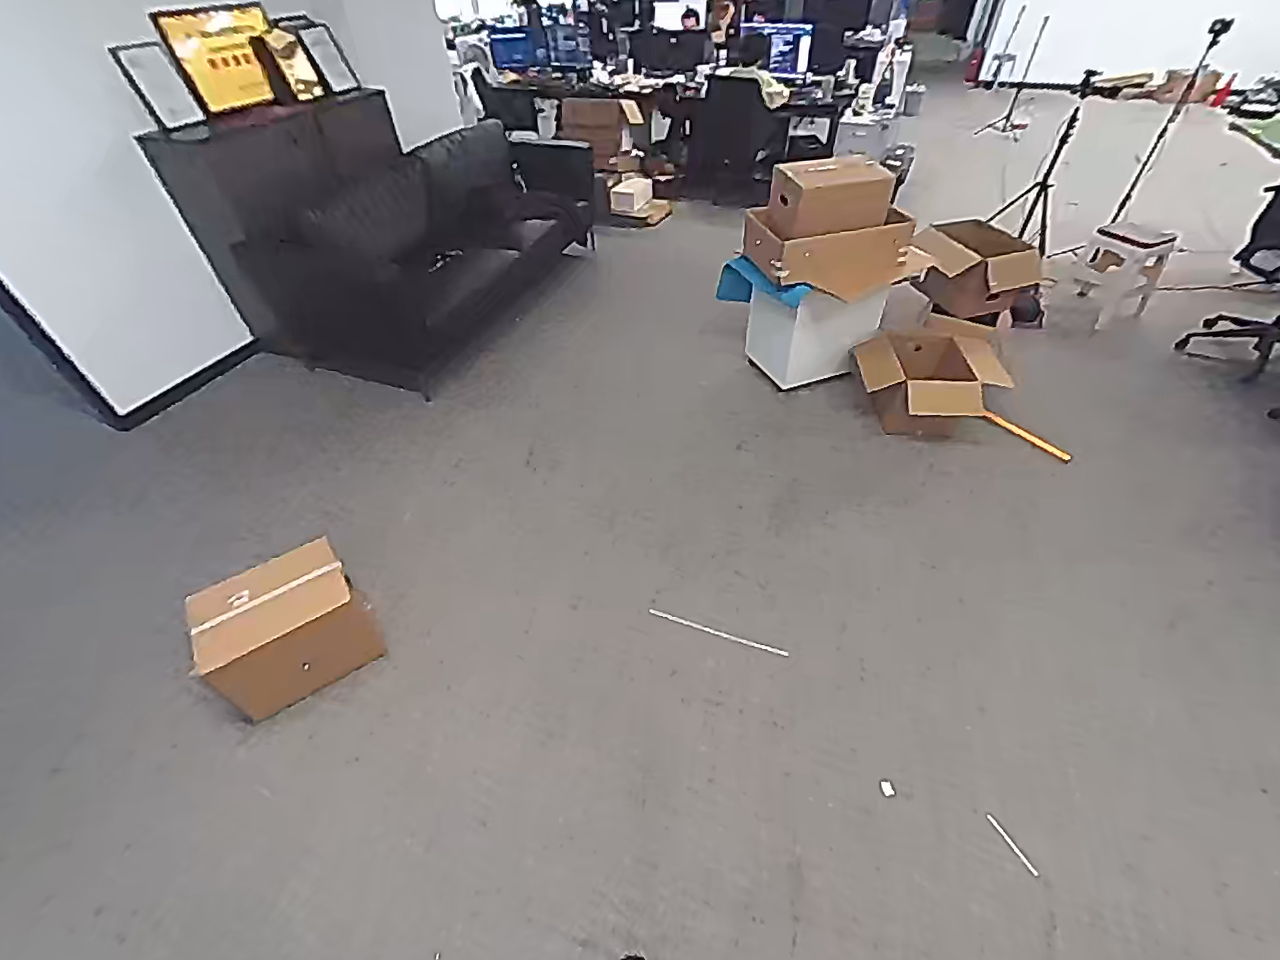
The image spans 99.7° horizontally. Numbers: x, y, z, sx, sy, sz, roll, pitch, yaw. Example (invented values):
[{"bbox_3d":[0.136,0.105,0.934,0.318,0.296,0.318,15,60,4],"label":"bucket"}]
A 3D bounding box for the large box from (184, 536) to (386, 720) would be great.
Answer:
[{"bbox_3d":[-1.088,0.454,1.689,0.408,0.320,0.320,-29,50,-23],"label":"large box"}]
